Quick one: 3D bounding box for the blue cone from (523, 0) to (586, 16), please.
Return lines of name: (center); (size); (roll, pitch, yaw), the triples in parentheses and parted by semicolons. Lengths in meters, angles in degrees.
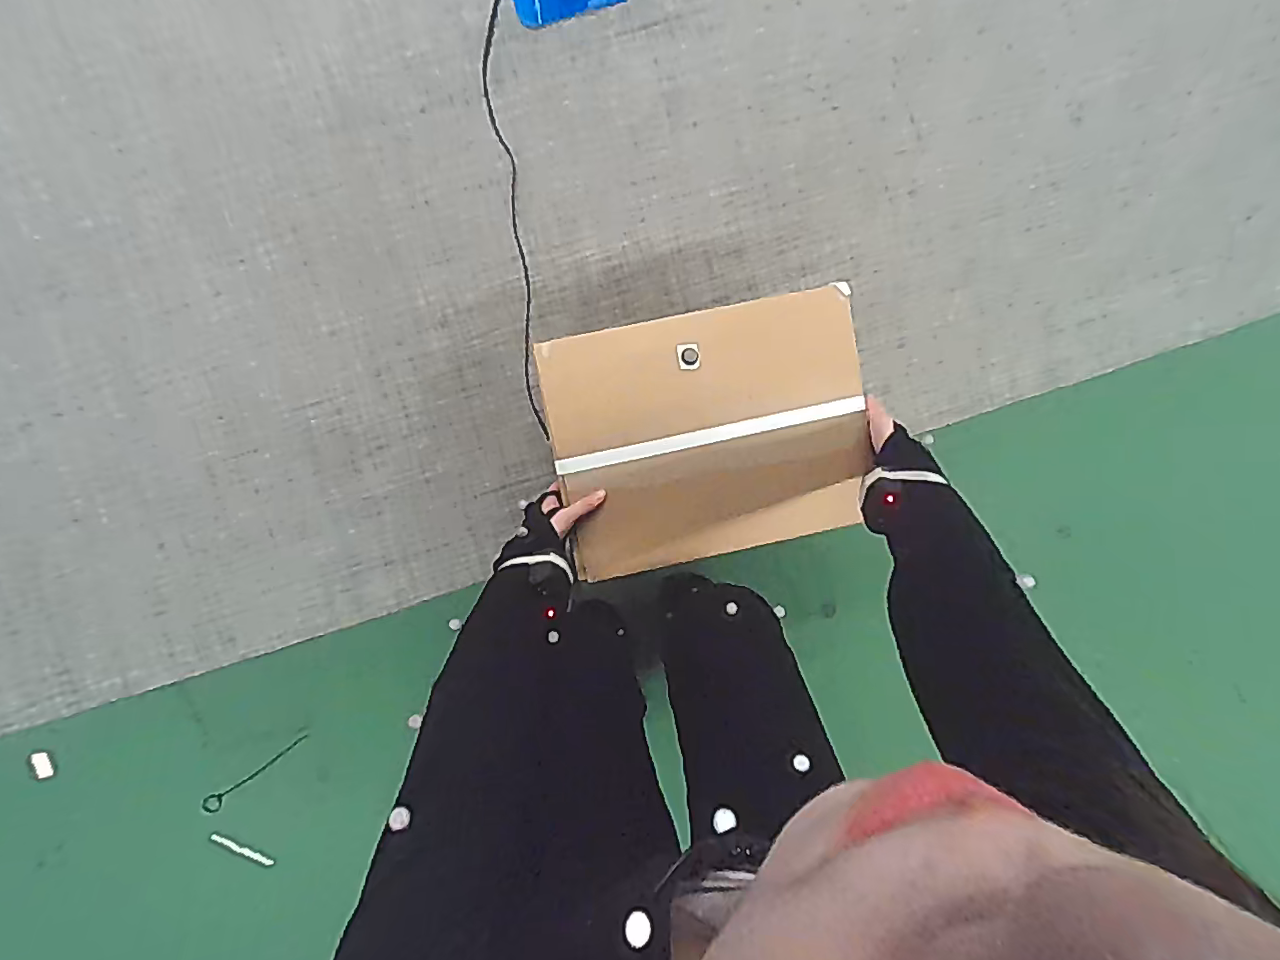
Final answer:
blue cone: (-0.122, -0.864, 0.726); (0.193, 0.380, 0.192); (-21, 96, -1)
